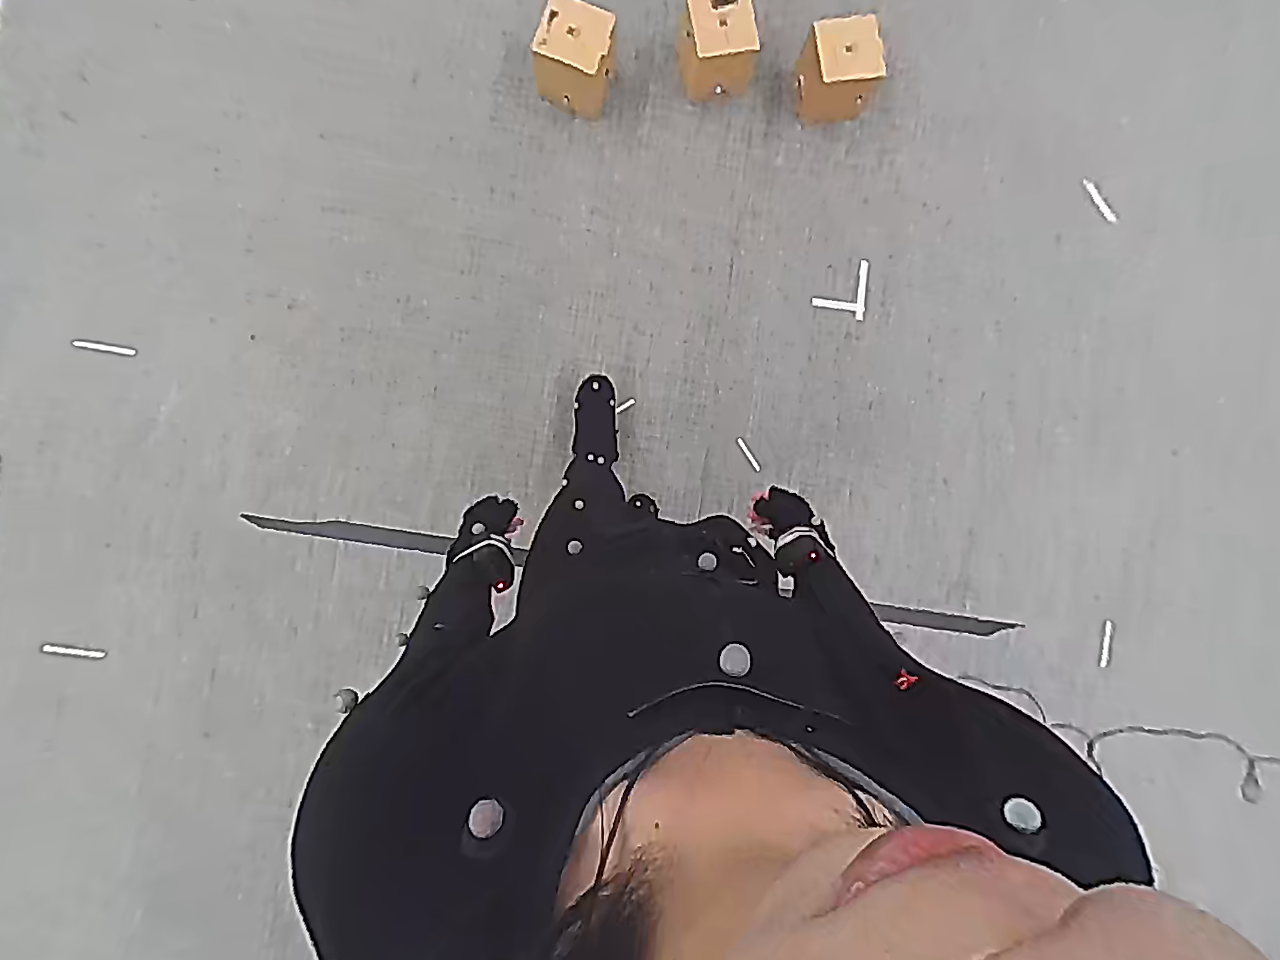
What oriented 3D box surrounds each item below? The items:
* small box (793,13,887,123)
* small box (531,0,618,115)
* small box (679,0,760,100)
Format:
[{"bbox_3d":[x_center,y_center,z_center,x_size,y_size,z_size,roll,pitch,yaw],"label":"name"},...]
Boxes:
[{"bbox_3d":[0.542,-1.121,1.482,0.179,0.176,0.168,-10,90,-3],"label":"small box"},{"bbox_3d":[-0.170,-1.120,1.437,0.179,0.176,0.168,21,88,-3],"label":"small box"},{"bbox_3d":[0.207,-1.176,1.459,0.168,0.176,0.179,-11,91,-3],"label":"small box"}]
